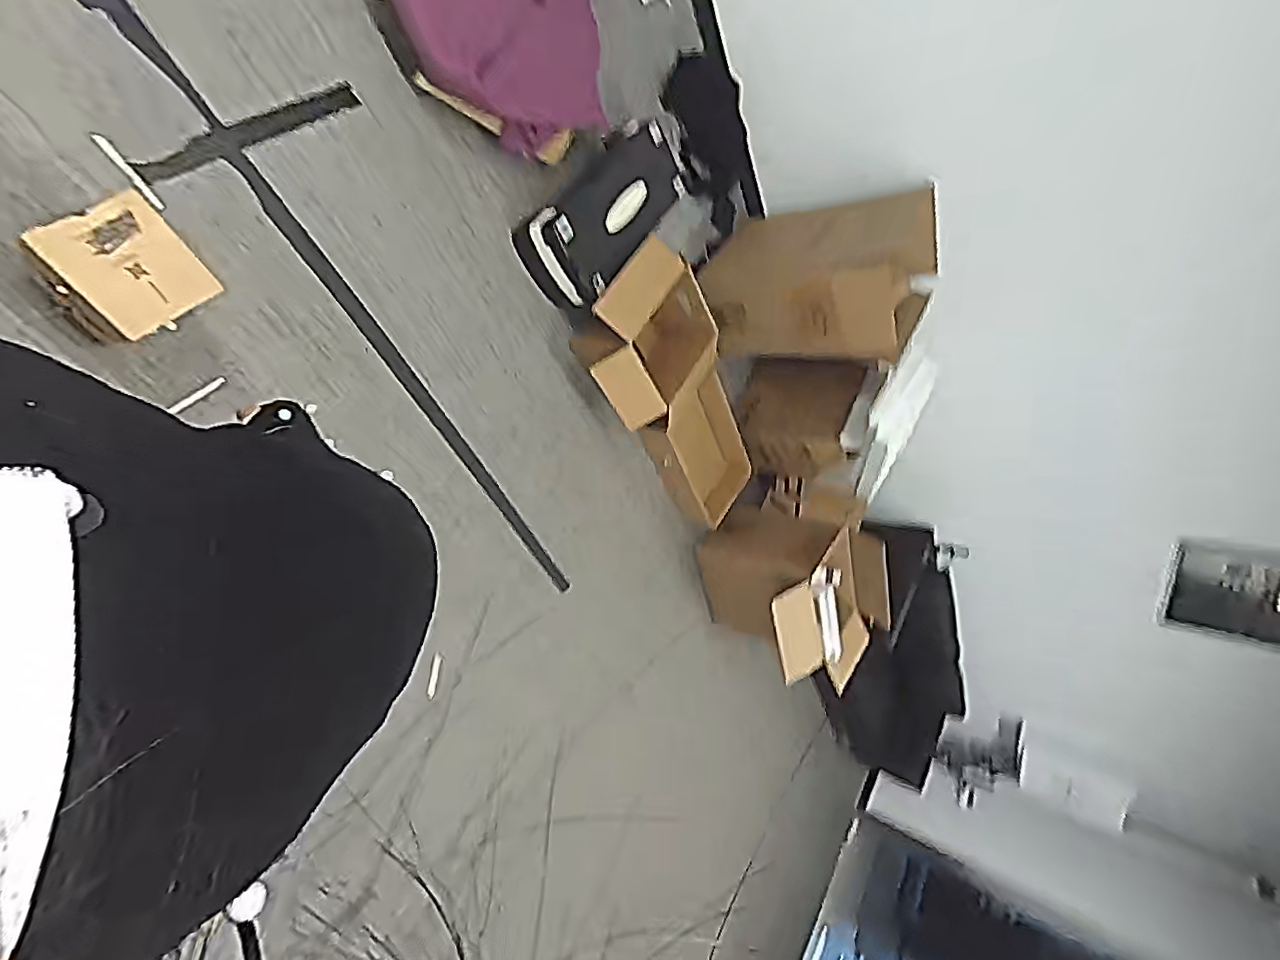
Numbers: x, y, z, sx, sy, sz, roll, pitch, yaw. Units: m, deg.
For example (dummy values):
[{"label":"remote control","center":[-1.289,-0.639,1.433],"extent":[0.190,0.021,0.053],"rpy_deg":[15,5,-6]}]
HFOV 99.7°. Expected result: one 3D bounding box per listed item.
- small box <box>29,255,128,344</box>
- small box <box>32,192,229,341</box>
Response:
[{"label":"small box","center":[-0.975,-0.368,1.020],"extent":[0.179,0.176,0.168],"rpy_deg":[-49,131,-29]},{"label":"small box","center":[-0.854,-0.348,0.909],"extent":[0.168,0.176,0.179],"rpy_deg":[-50,132,-29]}]
